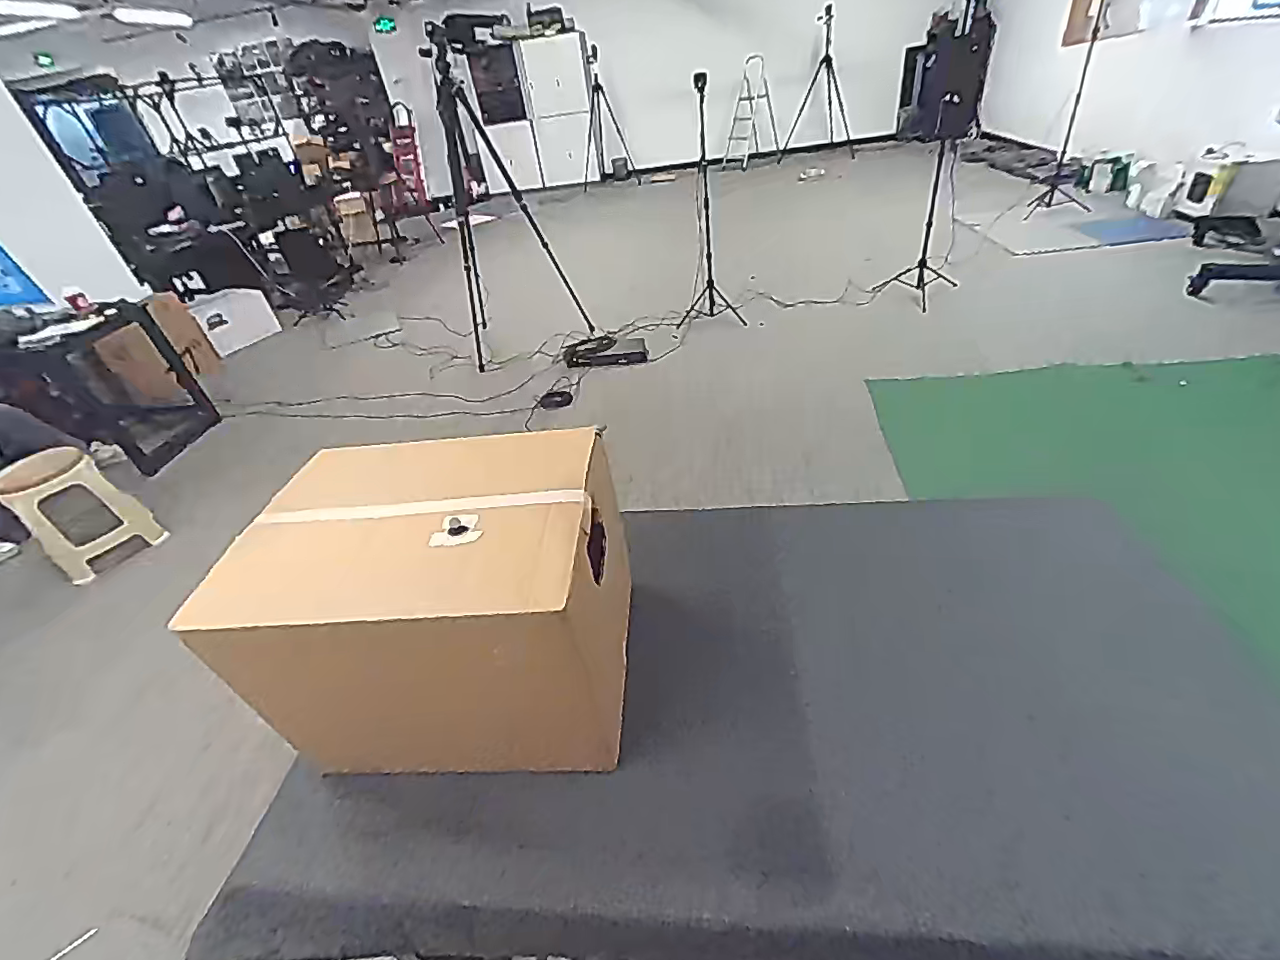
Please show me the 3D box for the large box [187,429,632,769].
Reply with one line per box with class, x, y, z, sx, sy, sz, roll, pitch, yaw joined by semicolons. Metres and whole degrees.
large box;-0.231;0.155;0.719;0.408;0.320;0.320;-4;38;5
